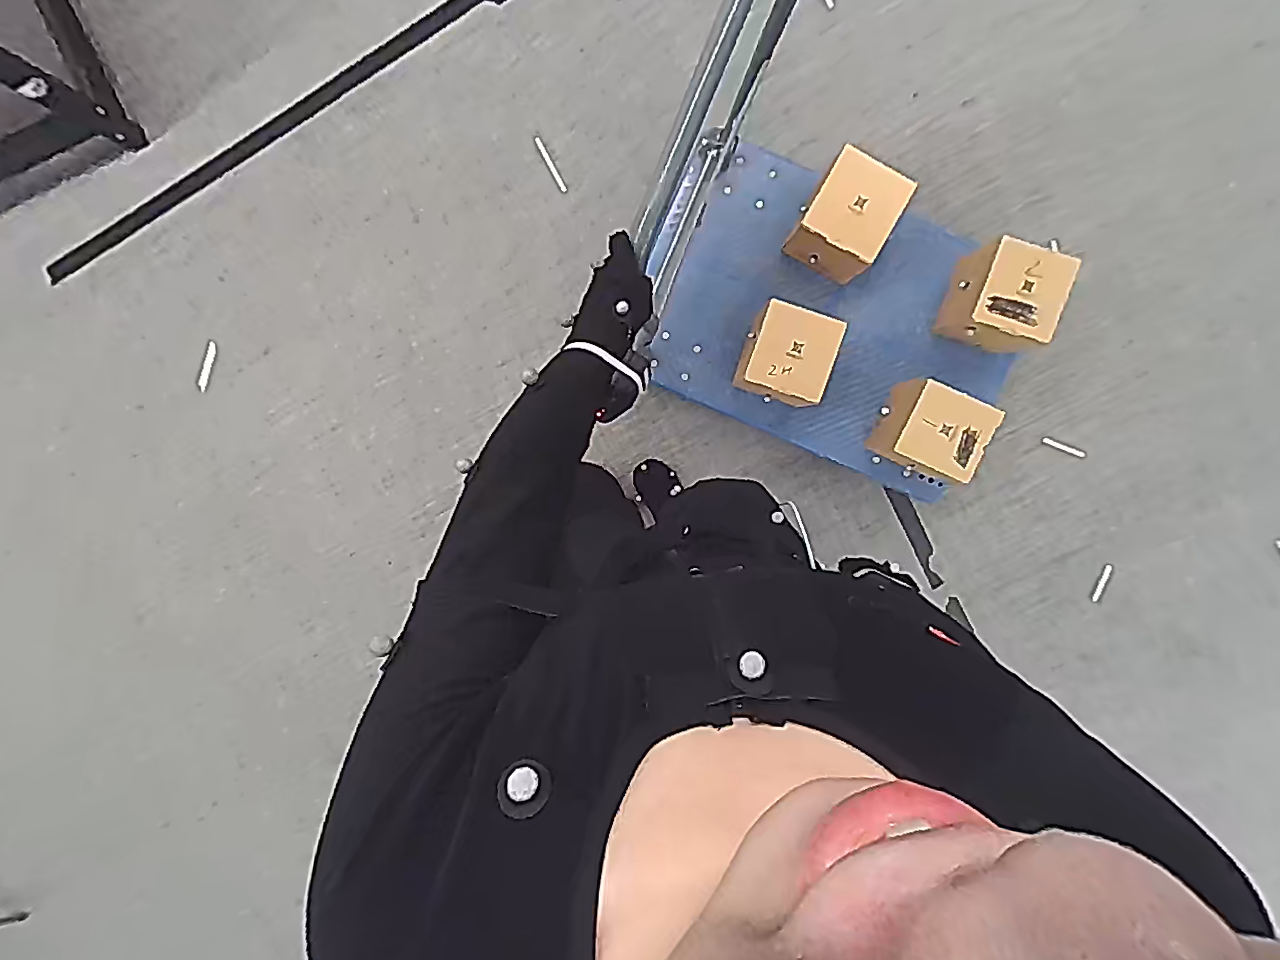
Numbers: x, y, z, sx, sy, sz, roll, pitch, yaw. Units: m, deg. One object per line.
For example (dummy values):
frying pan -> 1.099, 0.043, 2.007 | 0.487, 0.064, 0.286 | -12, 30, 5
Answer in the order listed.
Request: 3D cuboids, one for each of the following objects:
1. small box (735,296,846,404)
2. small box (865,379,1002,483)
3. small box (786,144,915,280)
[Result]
small box -> 0.317, -0.275, 1.182 | 0.168, 0.176, 0.179 | 19, 96, -1
small box -> 0.636, -0.111, 1.195 | 0.179, 0.176, 0.168 | 25, 96, -1
small box -> 0.434, -0.558, 1.150 | 0.168, 0.176, 0.179 | 28, 98, -2
